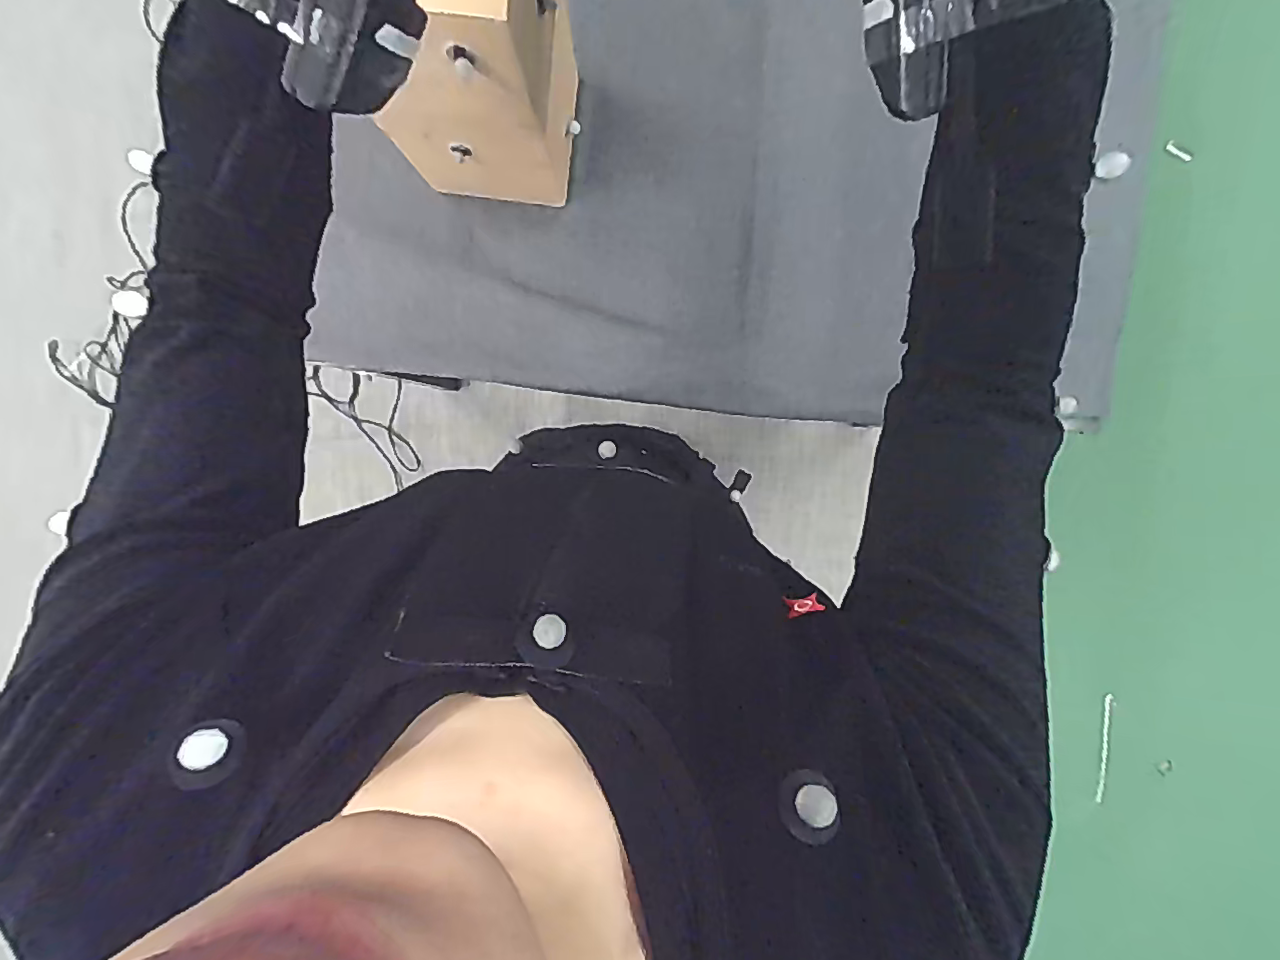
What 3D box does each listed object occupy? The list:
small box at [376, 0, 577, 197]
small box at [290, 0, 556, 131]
[{"bbox_3d":[-0.177,-0.455,0.631,0.179,0.176,0.168,7,95,-2],"label":"small box"},{"bbox_3d":[-0.171,-0.435,0.467,0.179,0.176,0.168,5,94,-1],"label":"small box"}]
